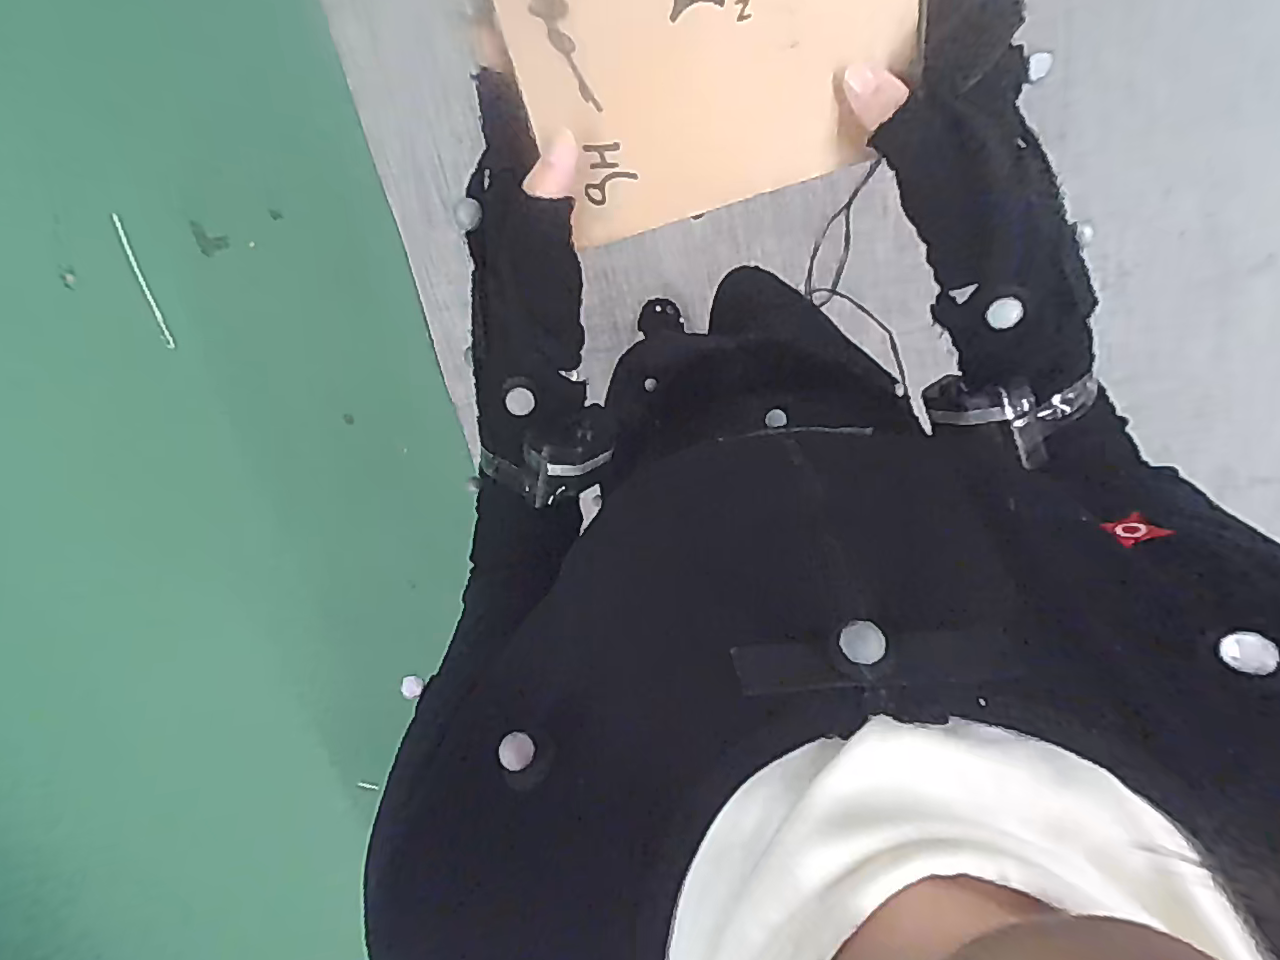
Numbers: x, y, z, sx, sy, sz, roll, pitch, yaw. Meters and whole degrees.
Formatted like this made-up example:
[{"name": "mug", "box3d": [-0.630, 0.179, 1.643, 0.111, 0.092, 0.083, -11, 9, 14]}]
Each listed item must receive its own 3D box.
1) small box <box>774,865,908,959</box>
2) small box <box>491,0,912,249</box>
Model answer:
[{"name": "small box", "box3d": [0.321, 0.761, 0.865, 0.179, 0.176, 0.168, -13, 110, 5]}, {"name": "small box", "box3d": [0.017, -0.241, 0.290, 0.179, 0.176, 0.168, -16, 120, 1]}]
